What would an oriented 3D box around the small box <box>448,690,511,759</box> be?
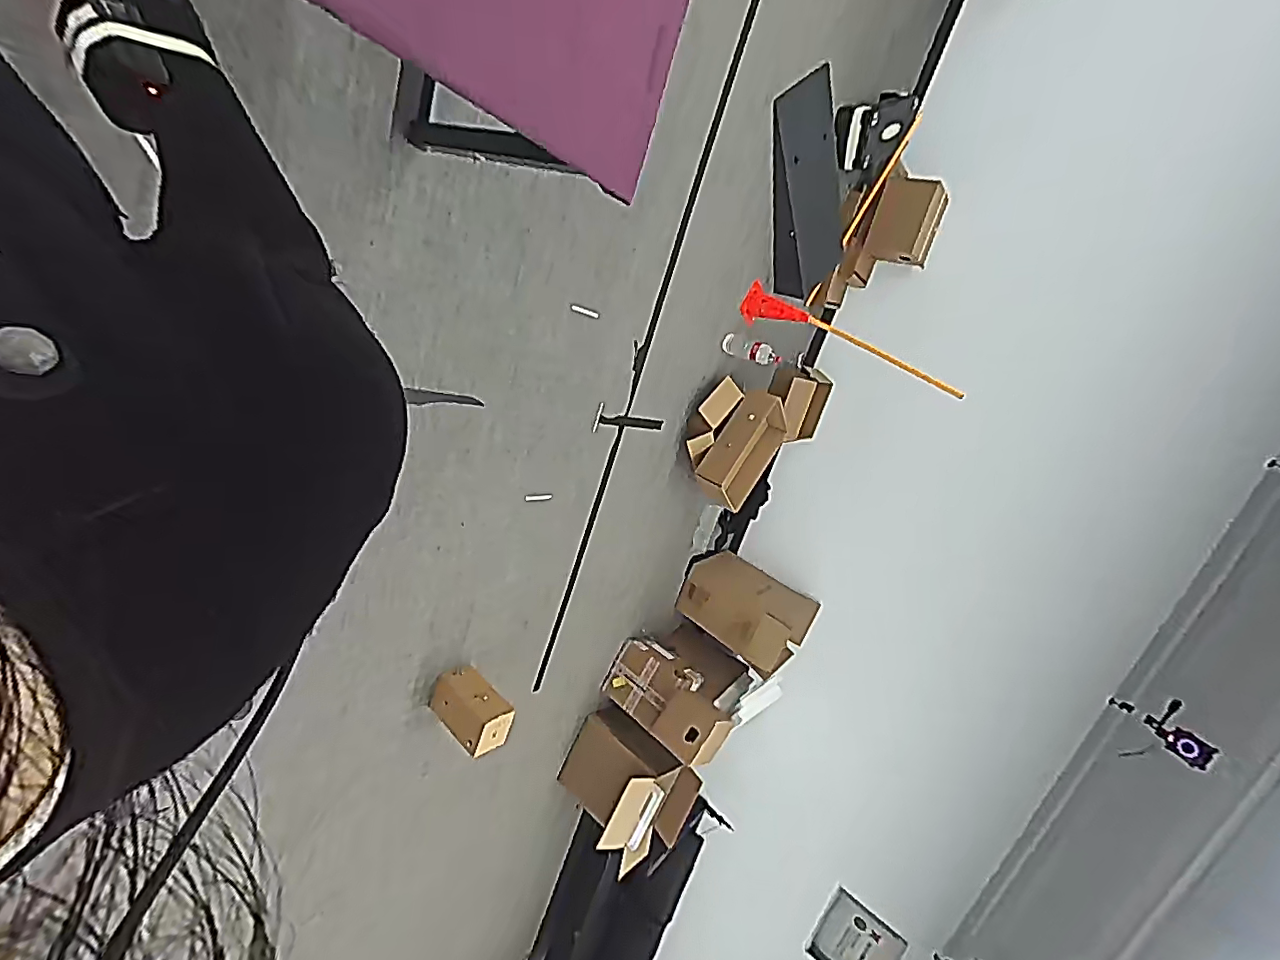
[{"bbox_3d":[-0.679,1.018,2.267,0.168,0.176,0.179,2,111,-57],"label":"small box"}]
